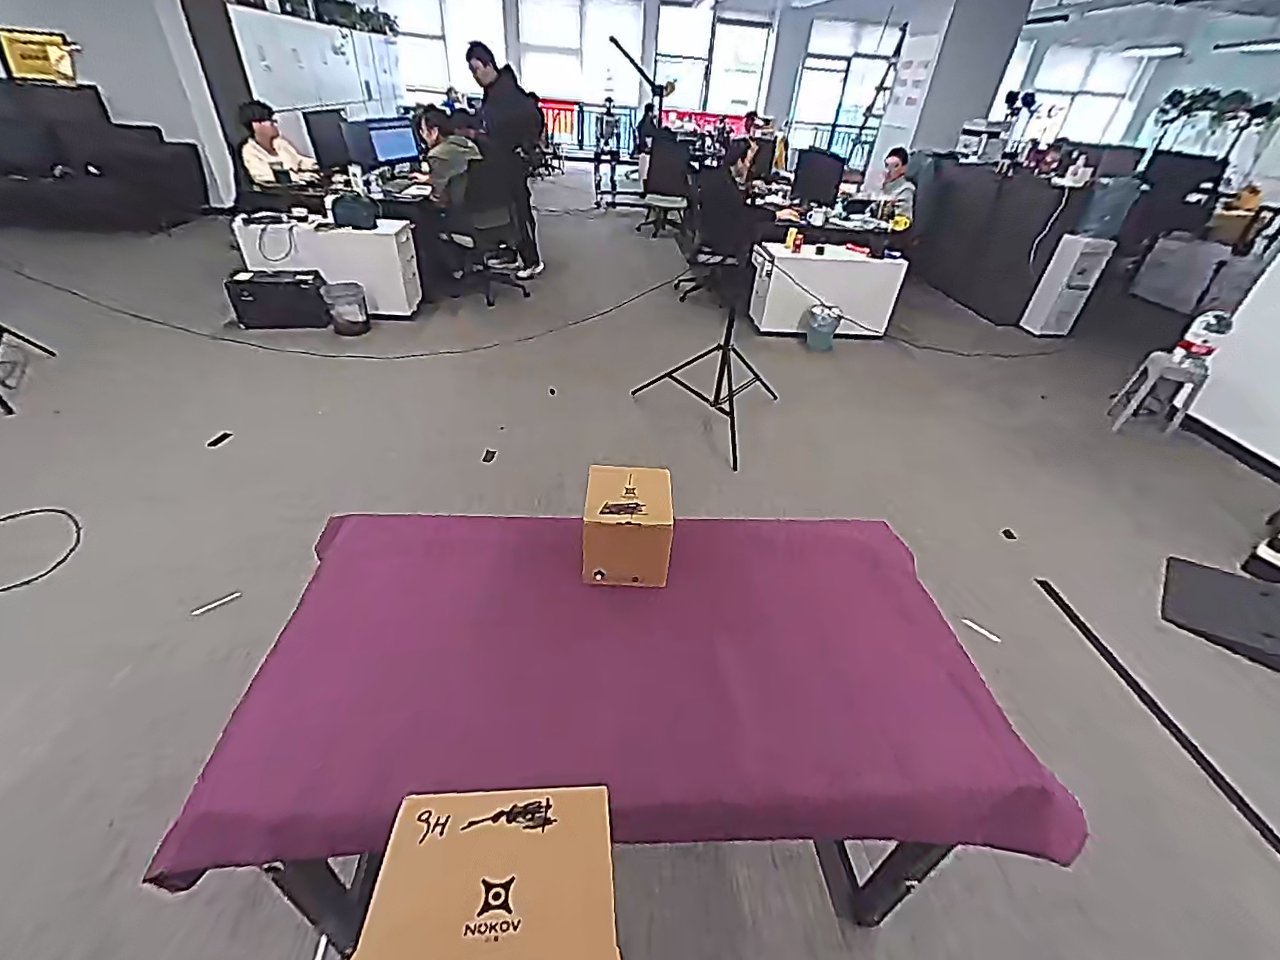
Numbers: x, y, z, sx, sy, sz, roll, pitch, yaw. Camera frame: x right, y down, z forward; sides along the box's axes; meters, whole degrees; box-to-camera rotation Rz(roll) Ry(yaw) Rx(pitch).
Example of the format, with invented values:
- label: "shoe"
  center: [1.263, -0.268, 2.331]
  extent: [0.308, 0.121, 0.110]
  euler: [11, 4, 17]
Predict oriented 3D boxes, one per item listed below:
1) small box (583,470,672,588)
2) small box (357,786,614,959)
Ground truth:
- label: "small box"
  center: [-0.025, 0.100, 1.090]
  extent: [0.168, 0.176, 0.179]
  euler: [3, 37, -2]
- label: "small box"
  center: [-0.104, 0.366, 0.402]
  extent: [0.168, 0.176, 0.179]
  euler: [1, 26, -7]
